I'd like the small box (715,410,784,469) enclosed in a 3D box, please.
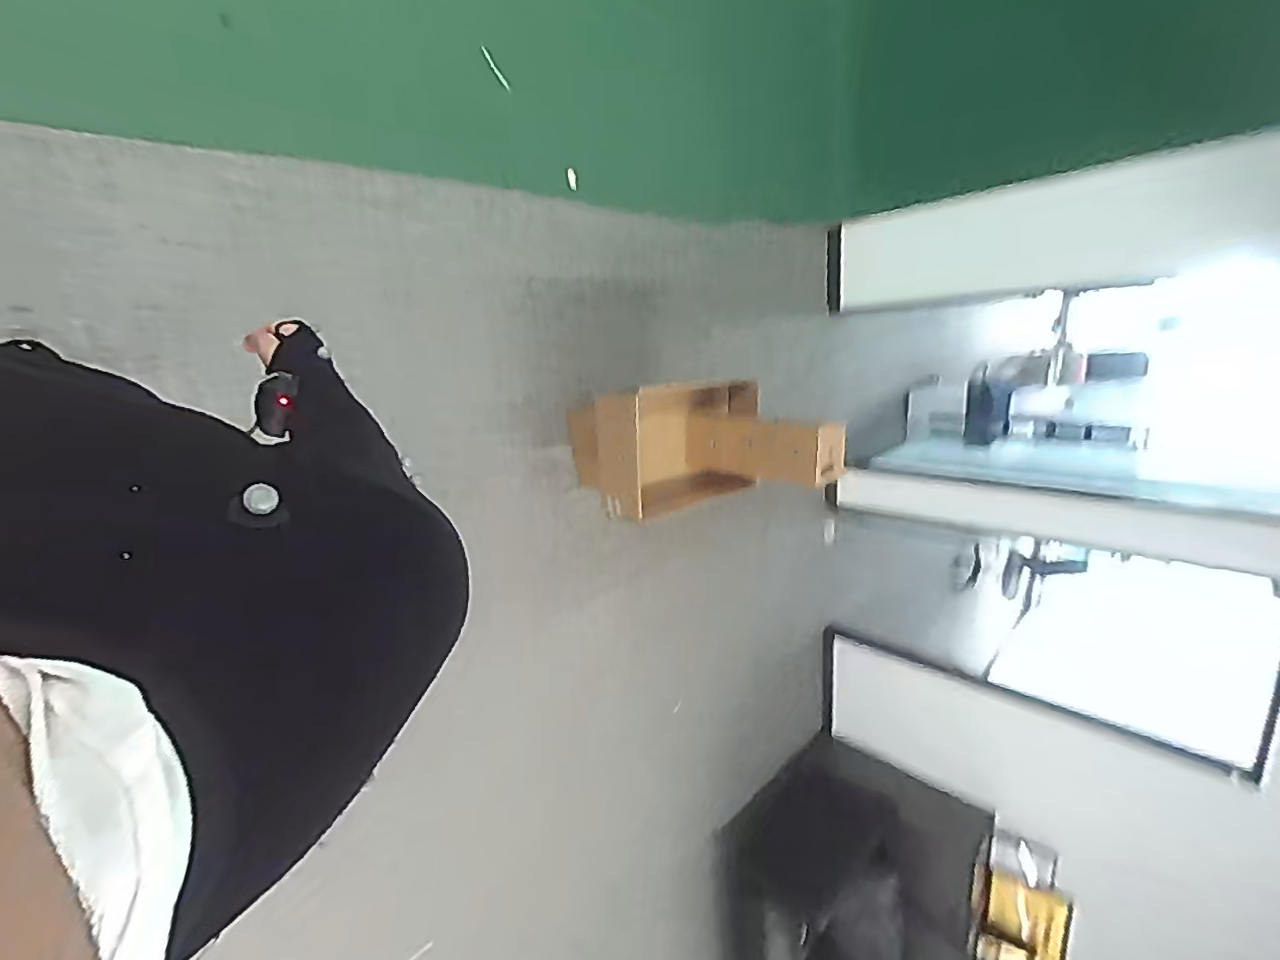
[{"bbox_3d":[0.361,-0.139,1.780,0.168,0.176,0.179,-12,106,-42],"label":"small box"}]

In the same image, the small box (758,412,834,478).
[{"bbox_3d":[0.477,-0.114,1.665,0.168,0.176,0.179,-13,107,-43],"label":"small box"}]

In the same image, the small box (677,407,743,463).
[{"bbox_3d":[0.243,-0.163,1.891,0.168,0.176,0.179,-11,107,-43],"label":"small box"}]
